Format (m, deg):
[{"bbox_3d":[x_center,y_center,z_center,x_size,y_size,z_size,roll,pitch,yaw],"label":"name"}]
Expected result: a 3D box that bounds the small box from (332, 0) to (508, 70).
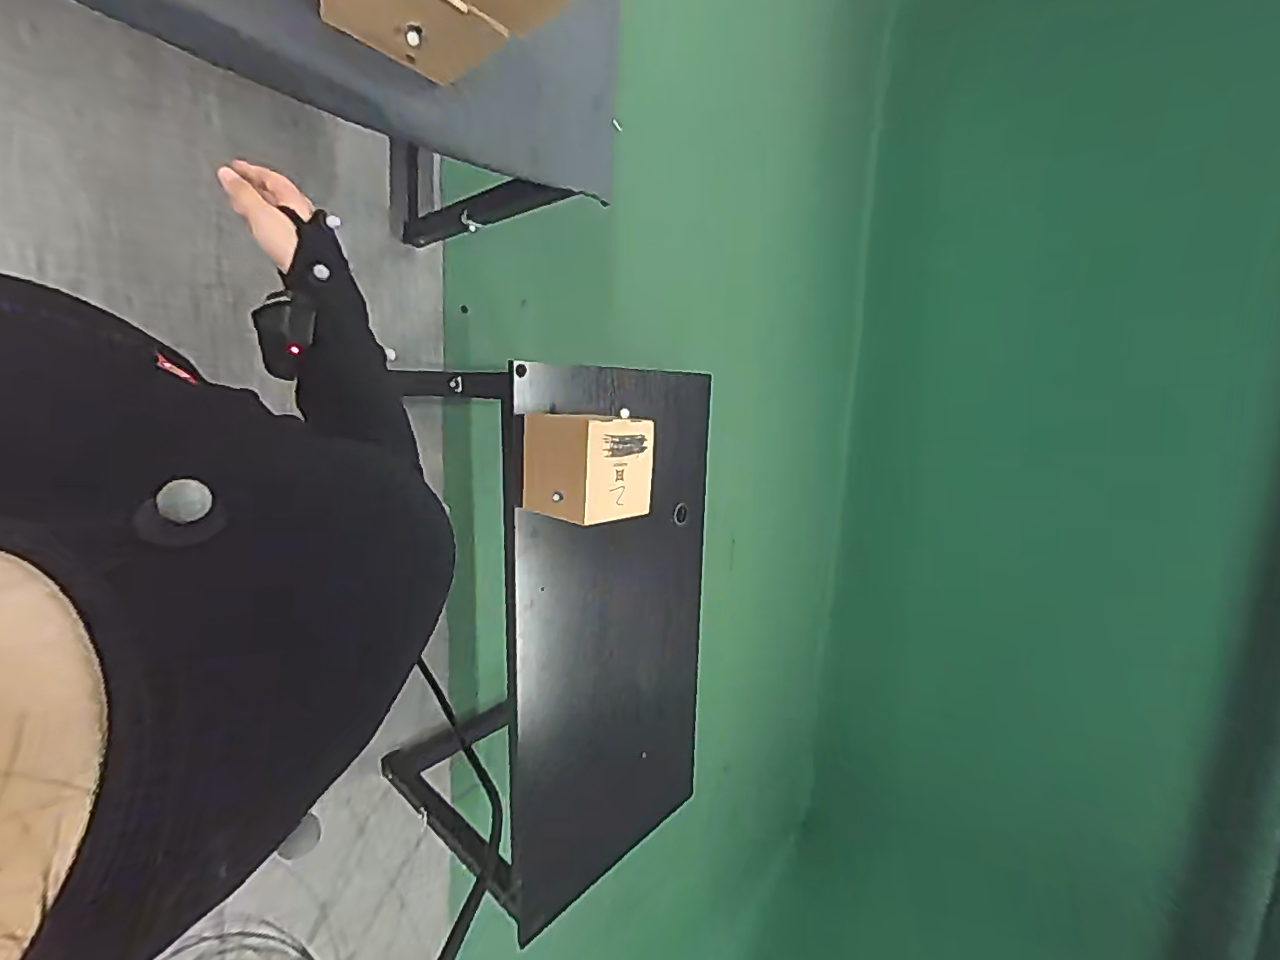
[{"bbox_3d":[-0.269,-0.647,0.650,0.168,0.176,0.179,-3,99,-47],"label":"small box"}]
